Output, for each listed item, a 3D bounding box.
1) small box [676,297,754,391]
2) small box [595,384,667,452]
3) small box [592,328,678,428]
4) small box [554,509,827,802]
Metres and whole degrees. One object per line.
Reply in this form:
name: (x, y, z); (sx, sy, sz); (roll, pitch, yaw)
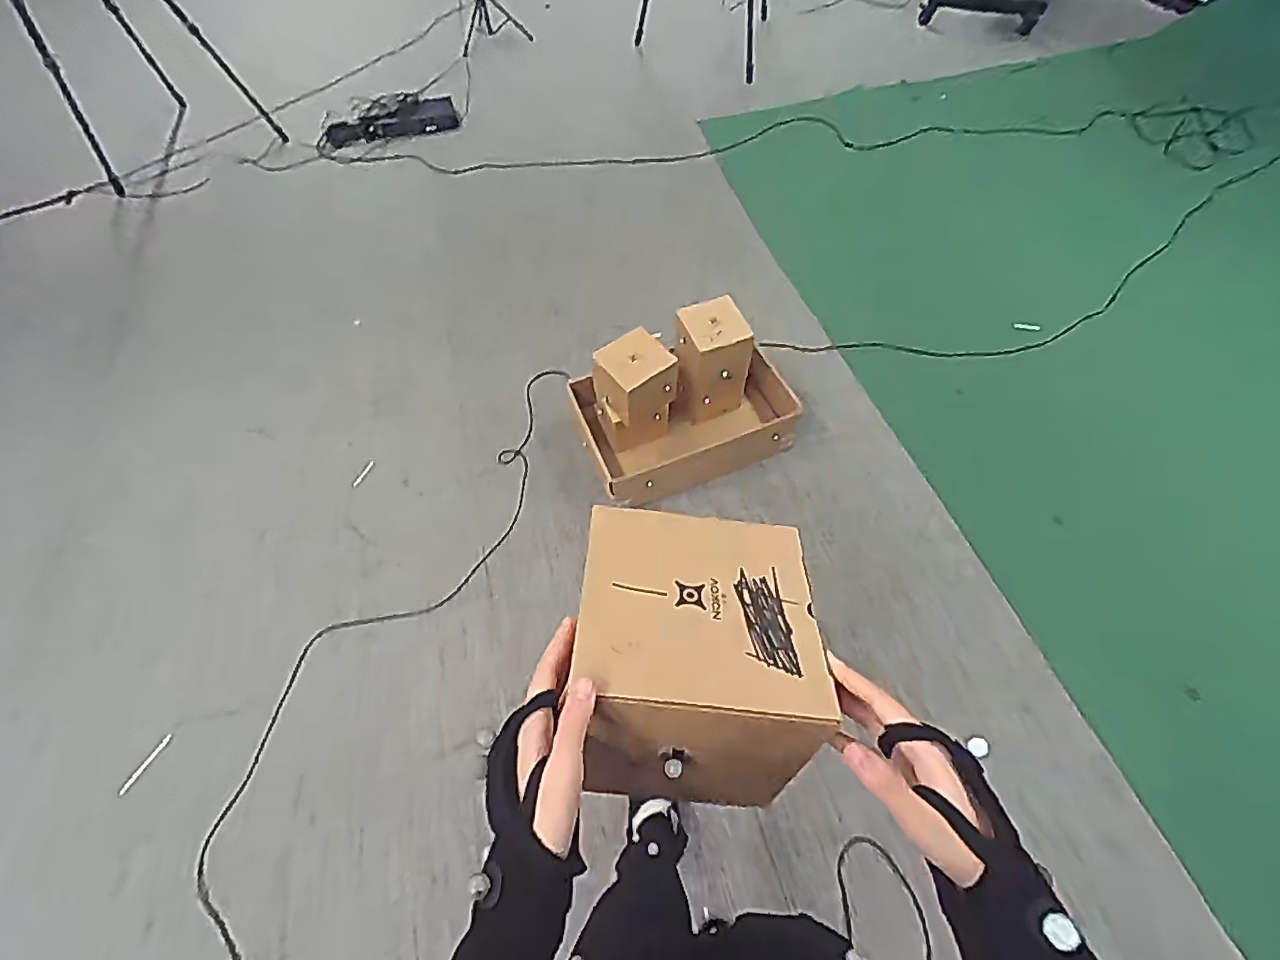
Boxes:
small box: (0.207, -0.389, 1.560); (0.168, 0.176, 0.179); (-19, 61, -8)
small box: (-0.025, -0.211, 1.658); (0.179, 0.176, 0.168); (-20, 62, -10)
small box: (-0.015, -0.282, 1.511); (0.179, 0.176, 0.168); (-35, 65, -17)
small box: (0.029, 0.149, 0.451); (0.179, 0.176, 0.168); (7, 41, -2)
